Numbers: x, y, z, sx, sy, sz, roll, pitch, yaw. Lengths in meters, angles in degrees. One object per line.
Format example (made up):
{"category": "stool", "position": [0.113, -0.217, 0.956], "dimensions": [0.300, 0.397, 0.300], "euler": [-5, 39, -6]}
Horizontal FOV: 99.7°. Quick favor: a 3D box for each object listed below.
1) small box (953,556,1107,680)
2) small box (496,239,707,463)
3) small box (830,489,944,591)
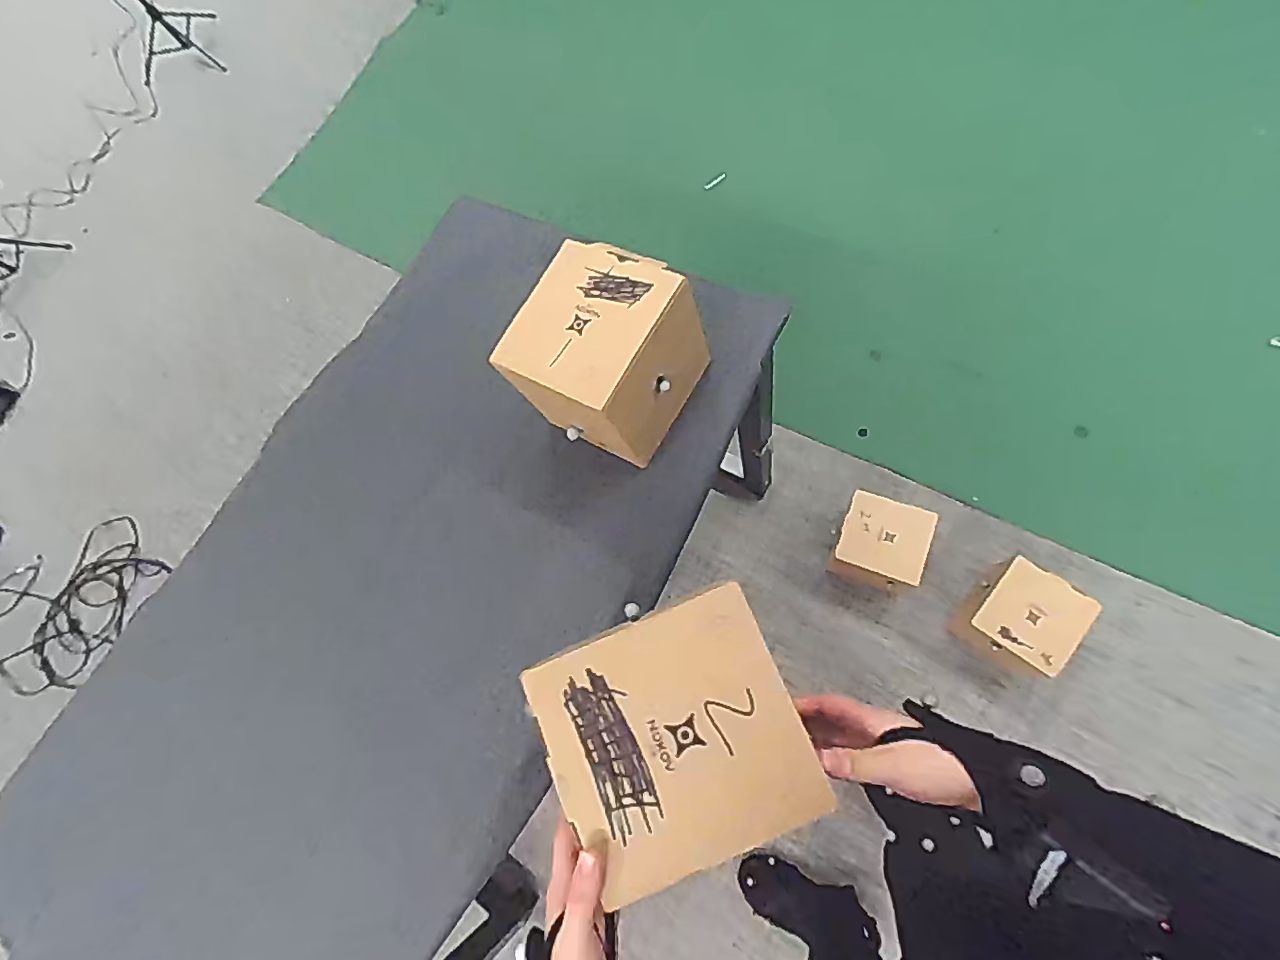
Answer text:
{"category": "small box", "position": [0.785, 0.283, 1.113], "dimensions": [0.168, 0.176, 0.179], "euler": [38, 84, 20]}
{"category": "small box", "position": [-0.032, -0.149, 0.658], "dimensions": [0.168, 0.176, 0.179], "euler": [28, 82, 24]}
{"category": "small box", "position": [0.546, 0.141, 1.216], "dimensions": [0.179, 0.176, 0.168], "euler": [20, 78, 18]}
